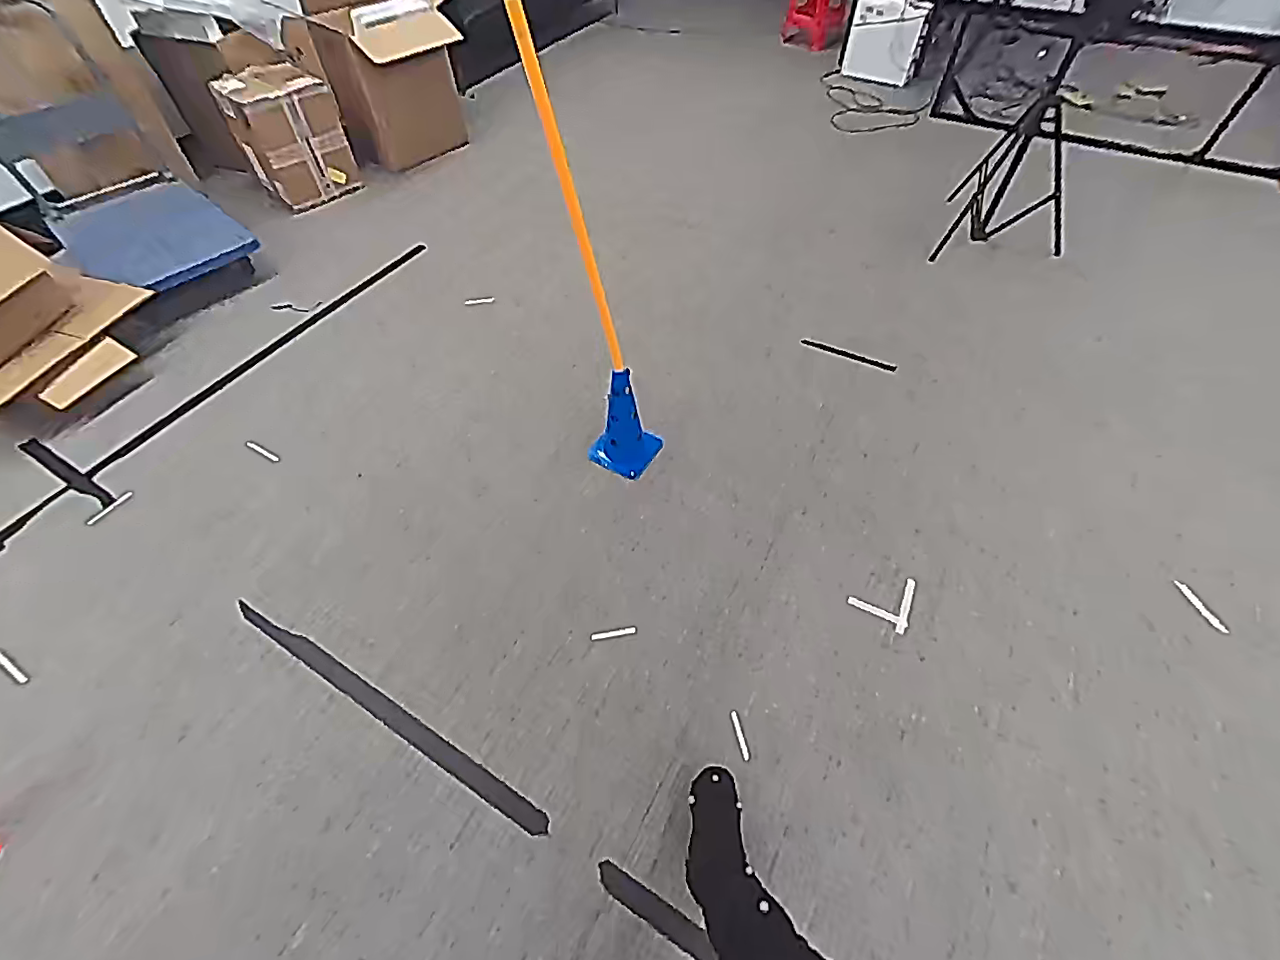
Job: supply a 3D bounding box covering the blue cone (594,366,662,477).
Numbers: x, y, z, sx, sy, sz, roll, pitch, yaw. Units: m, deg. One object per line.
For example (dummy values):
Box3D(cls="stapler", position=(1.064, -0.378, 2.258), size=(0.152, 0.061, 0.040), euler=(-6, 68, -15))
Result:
Box3D(cls="blue cone", position=(-0.044, -0.203, 1.671), size=(0.192, 0.380, 0.193), euler=(28, 59, 19))
